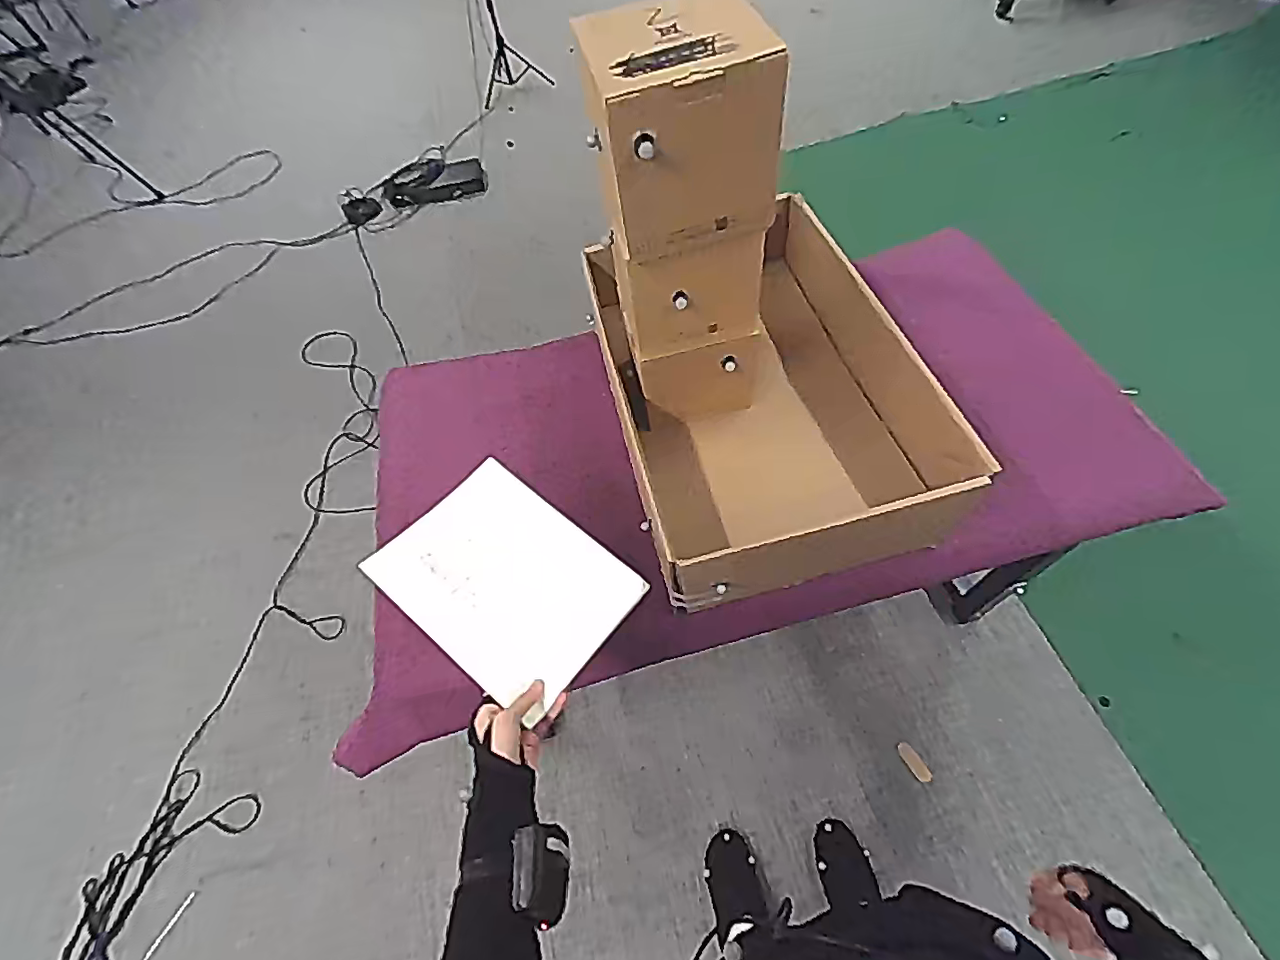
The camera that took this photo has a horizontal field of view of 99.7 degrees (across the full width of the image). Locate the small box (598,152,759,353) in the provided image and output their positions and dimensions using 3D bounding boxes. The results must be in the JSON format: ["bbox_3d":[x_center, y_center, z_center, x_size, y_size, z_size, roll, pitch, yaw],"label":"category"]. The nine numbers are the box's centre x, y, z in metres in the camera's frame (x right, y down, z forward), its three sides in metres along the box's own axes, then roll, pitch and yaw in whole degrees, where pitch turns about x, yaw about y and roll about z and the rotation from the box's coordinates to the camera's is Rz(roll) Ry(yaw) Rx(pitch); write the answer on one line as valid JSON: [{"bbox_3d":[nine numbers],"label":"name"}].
[{"bbox_3d":[0.051,-0.290,0.720,0.168,0.176,0.179,-14,59,0],"label":"small box"}]
